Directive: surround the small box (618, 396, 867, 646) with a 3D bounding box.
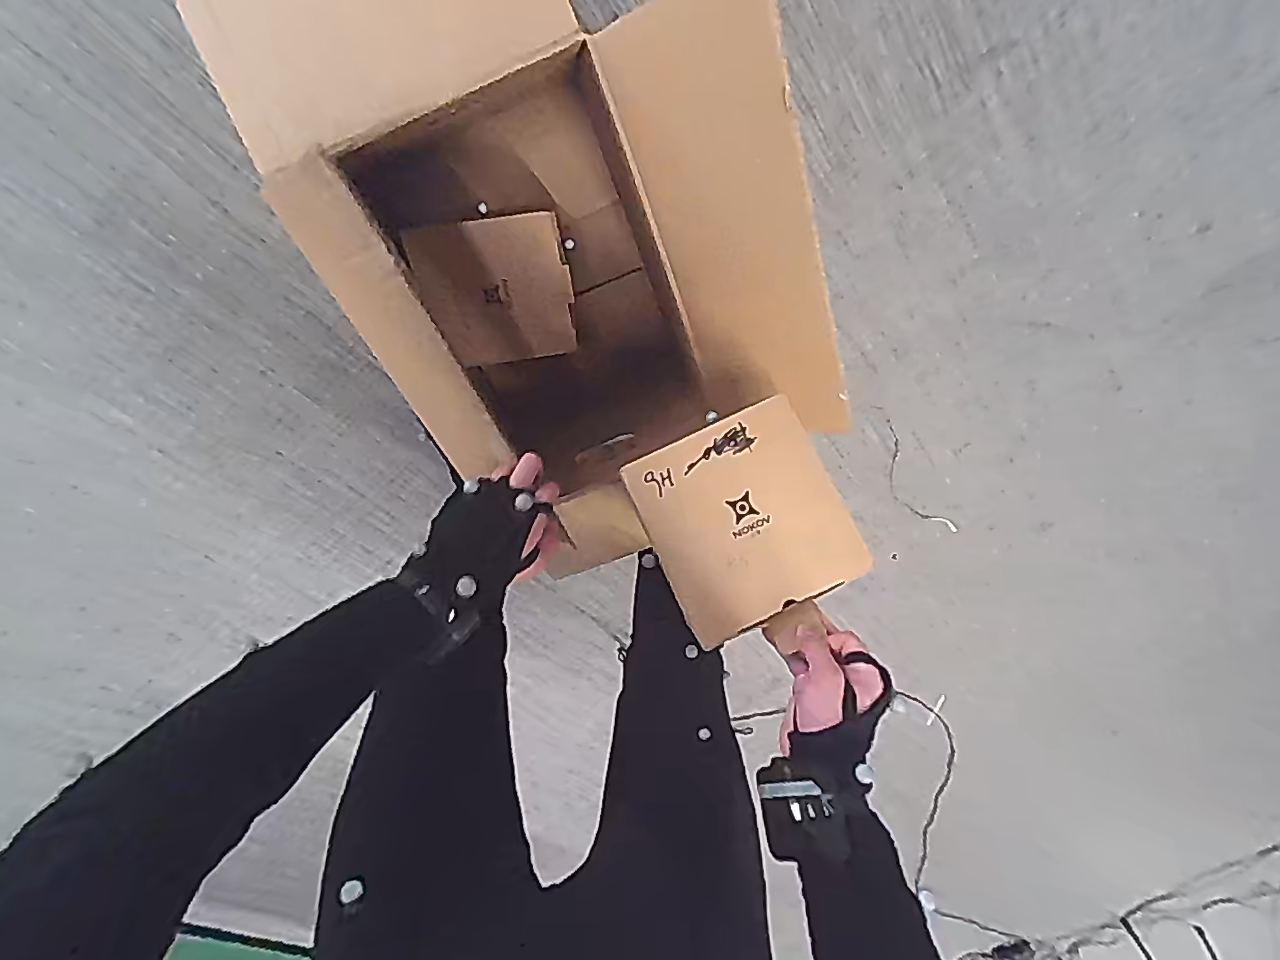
[{"bbox_3d":[0.094,0.043,0.558,0.168,0.176,0.179,-27,82,-2],"label":"small box"}]
